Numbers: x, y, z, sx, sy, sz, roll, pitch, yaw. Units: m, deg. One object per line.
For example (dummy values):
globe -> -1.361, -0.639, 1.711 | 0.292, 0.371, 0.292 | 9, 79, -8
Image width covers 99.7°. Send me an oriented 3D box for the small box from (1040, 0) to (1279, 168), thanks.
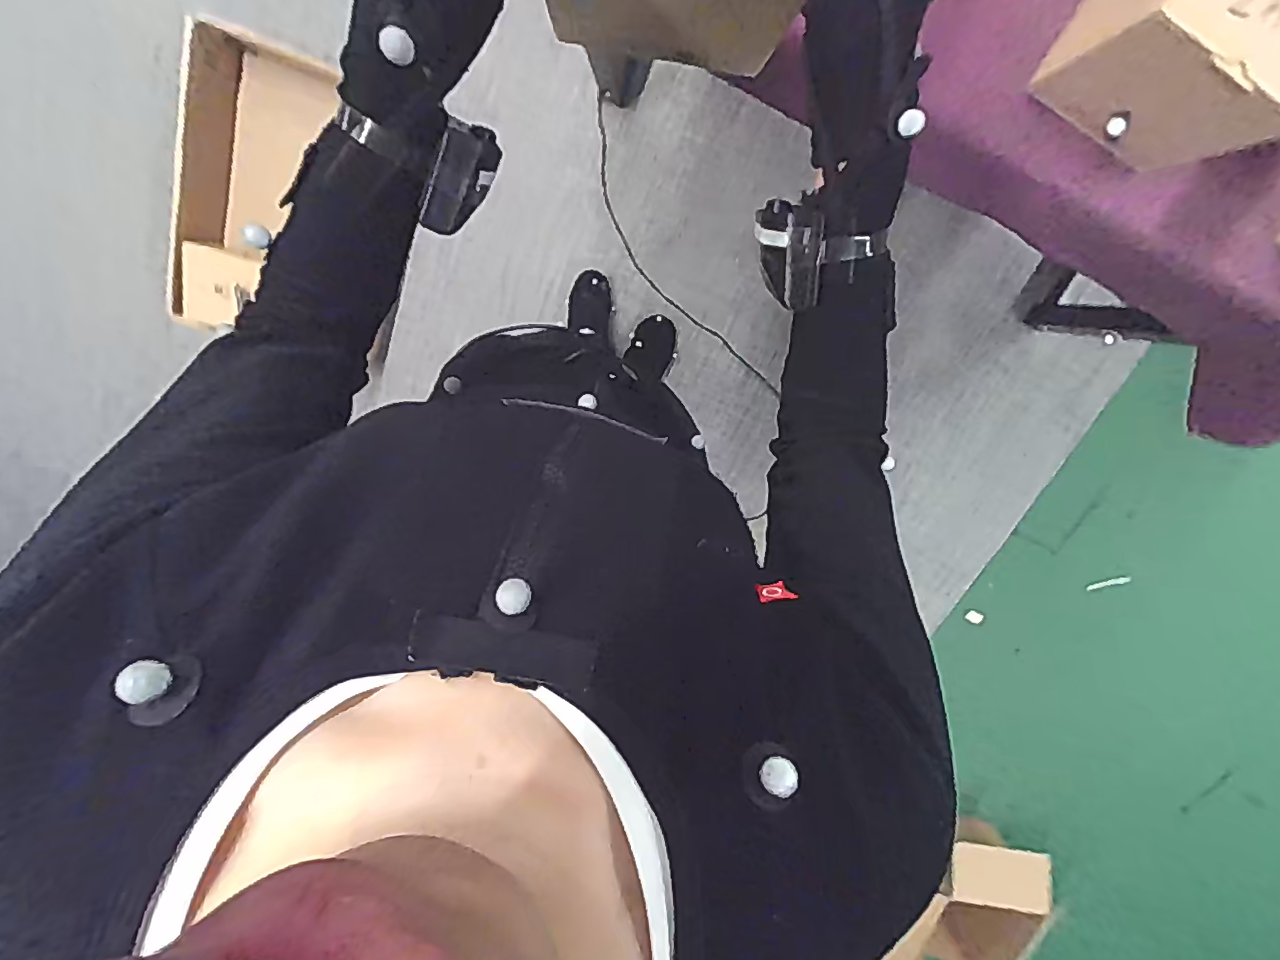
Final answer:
small box -> 0.518, -0.418, 0.477 | 0.168, 0.176, 0.179 | 30, 108, -7
